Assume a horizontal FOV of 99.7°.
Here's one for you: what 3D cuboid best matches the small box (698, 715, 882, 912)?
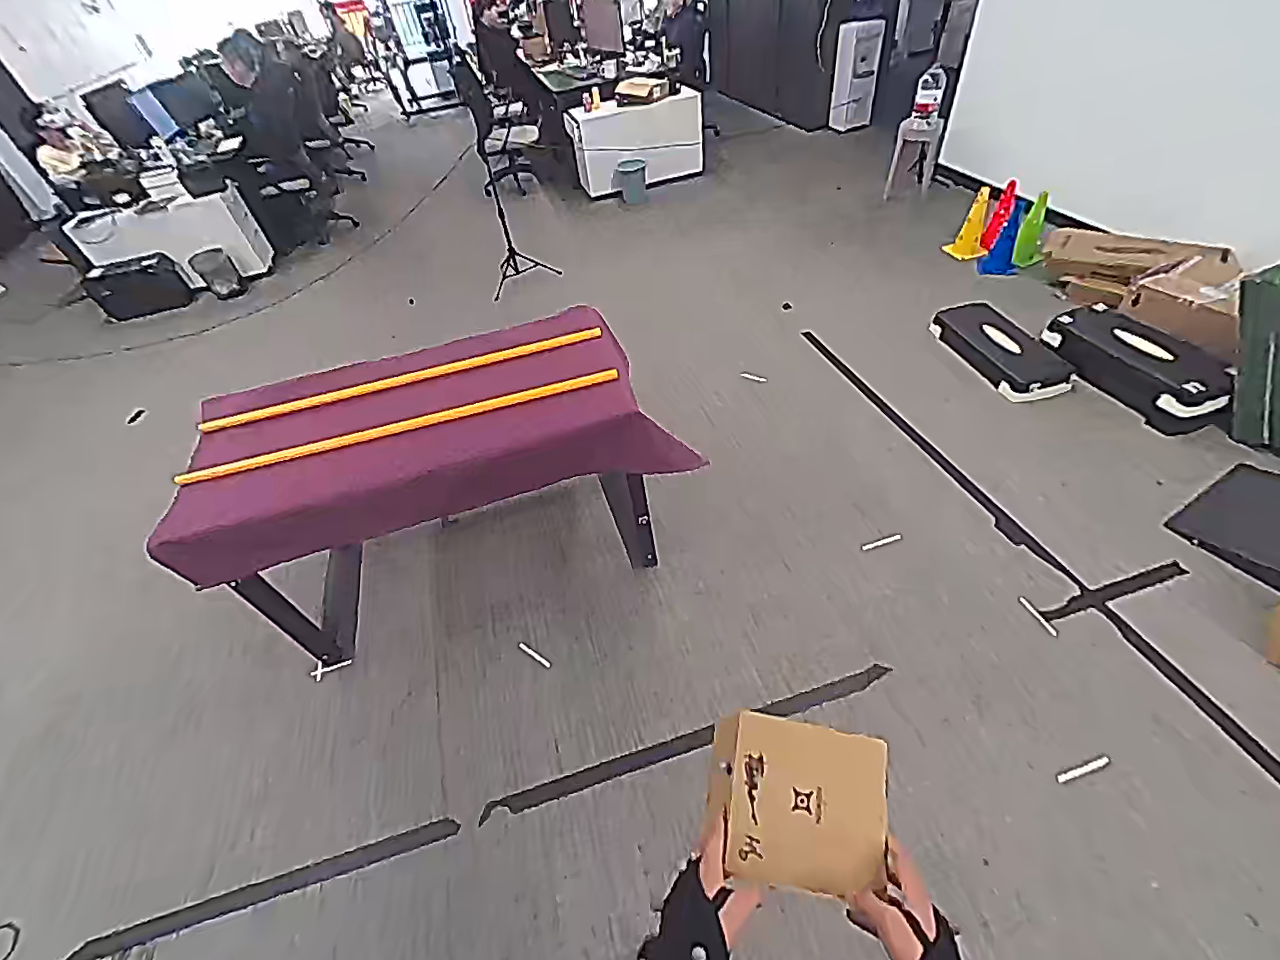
[{"bbox_3d":[0.182,0.405,0.683,0.179,0.176,0.168,12,64,3],"label":"small box"}]
